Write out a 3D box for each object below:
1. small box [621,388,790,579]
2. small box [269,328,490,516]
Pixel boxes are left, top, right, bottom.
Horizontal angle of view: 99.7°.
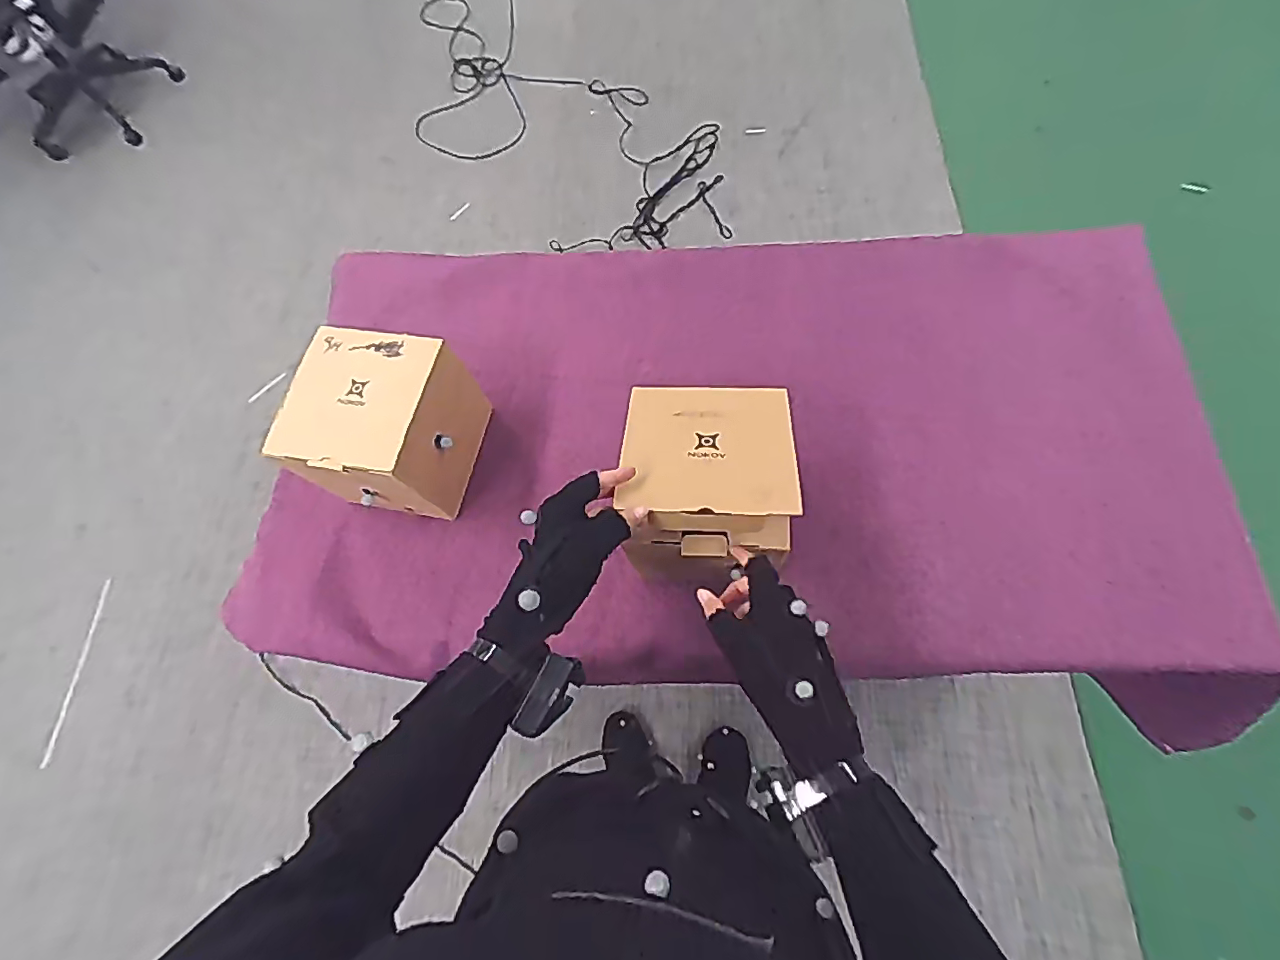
[{"bbox_3d":[0.077,0.012,0.620,0.168,0.176,0.179,2,68,7],"label":"small box"},{"bbox_3d":[-0.312,-0.065,0.692,0.168,0.176,0.179,9,70,9],"label":"small box"}]
